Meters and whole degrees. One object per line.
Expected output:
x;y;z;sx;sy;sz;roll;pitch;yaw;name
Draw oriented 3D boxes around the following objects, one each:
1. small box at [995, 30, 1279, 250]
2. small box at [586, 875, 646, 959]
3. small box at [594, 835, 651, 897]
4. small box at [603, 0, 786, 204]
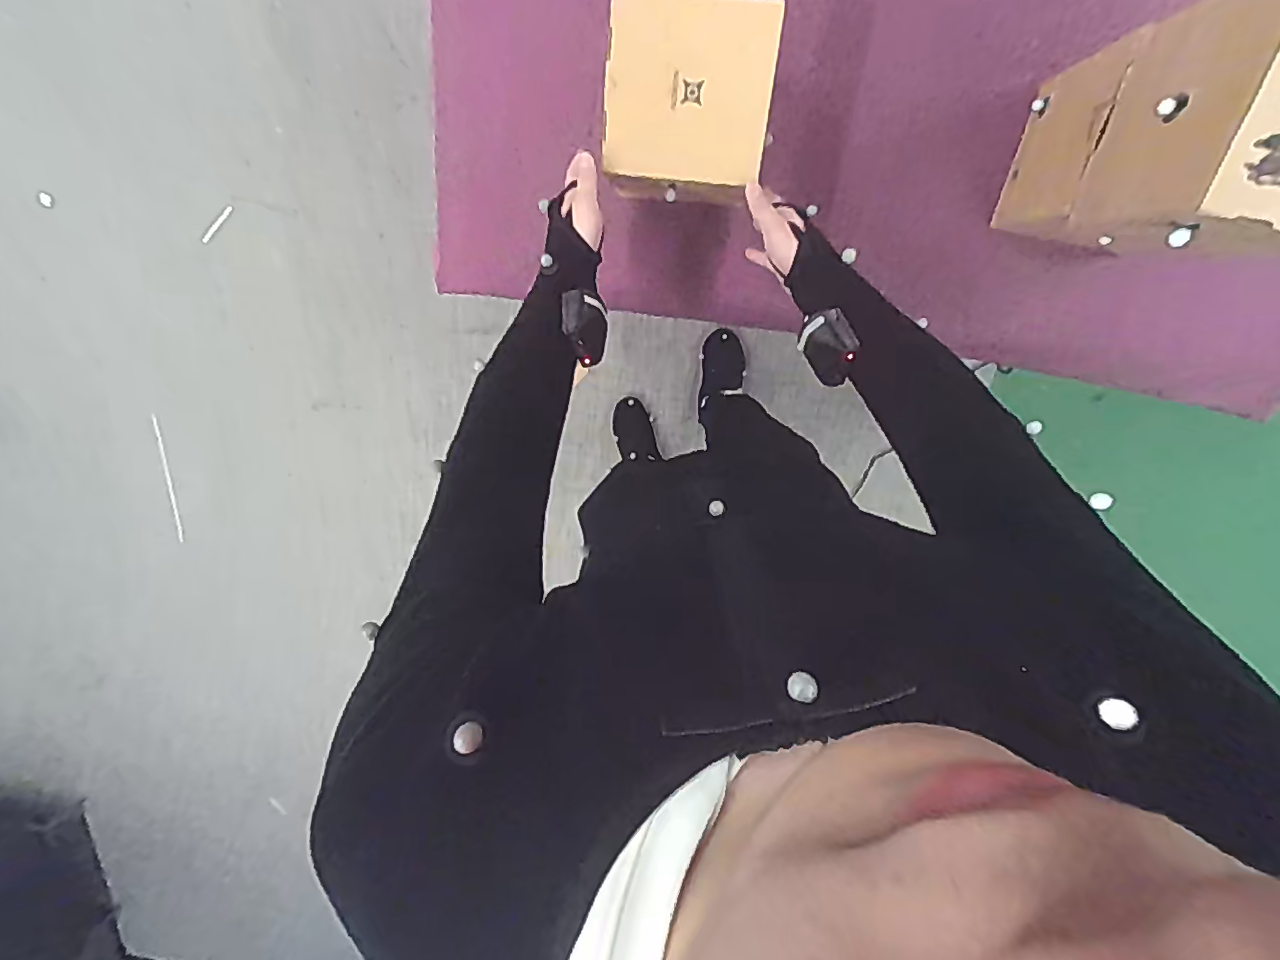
0.552;-0.363;0.612;0.179;0.176;0.168;11;111;1;small box
-0.085;1.617;2.007;0.179;0.176;0.168;17;112;-1;small box
-0.067;1.566;2.164;0.179;0.176;0.168;18;112;0;small box
0.059;-0.432;0.641;0.179;0.176;0.168;7;111;4;small box
